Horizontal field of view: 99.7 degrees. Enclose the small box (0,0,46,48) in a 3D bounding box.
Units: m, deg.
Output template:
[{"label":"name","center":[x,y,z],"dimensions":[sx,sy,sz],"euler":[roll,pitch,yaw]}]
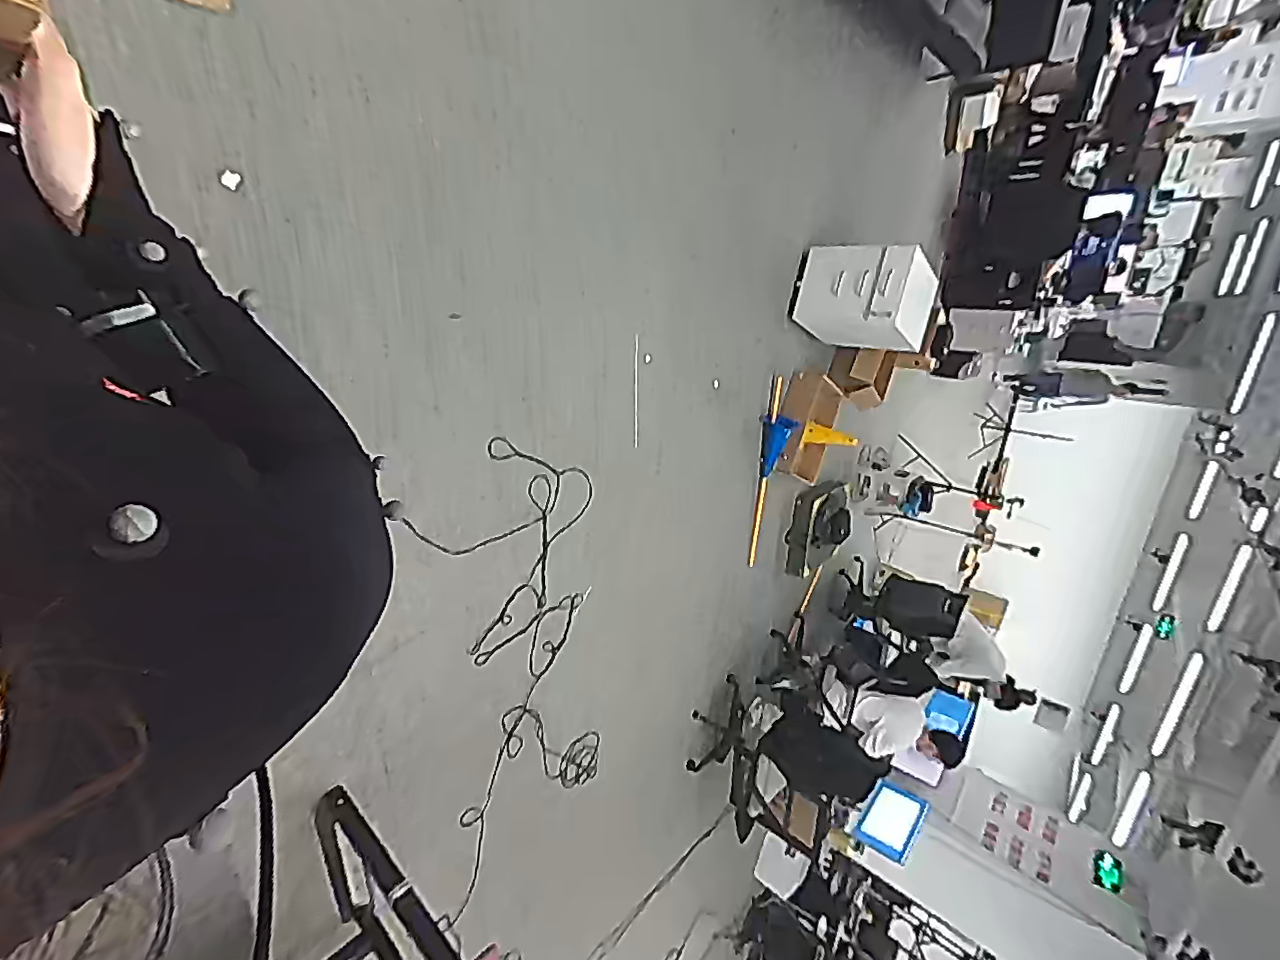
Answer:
[{"label":"small box","center":[-0.398,-0.338,0.234],"dimensions":[0.168,0.176,0.179],"euler":[-8,110,-54]}]
